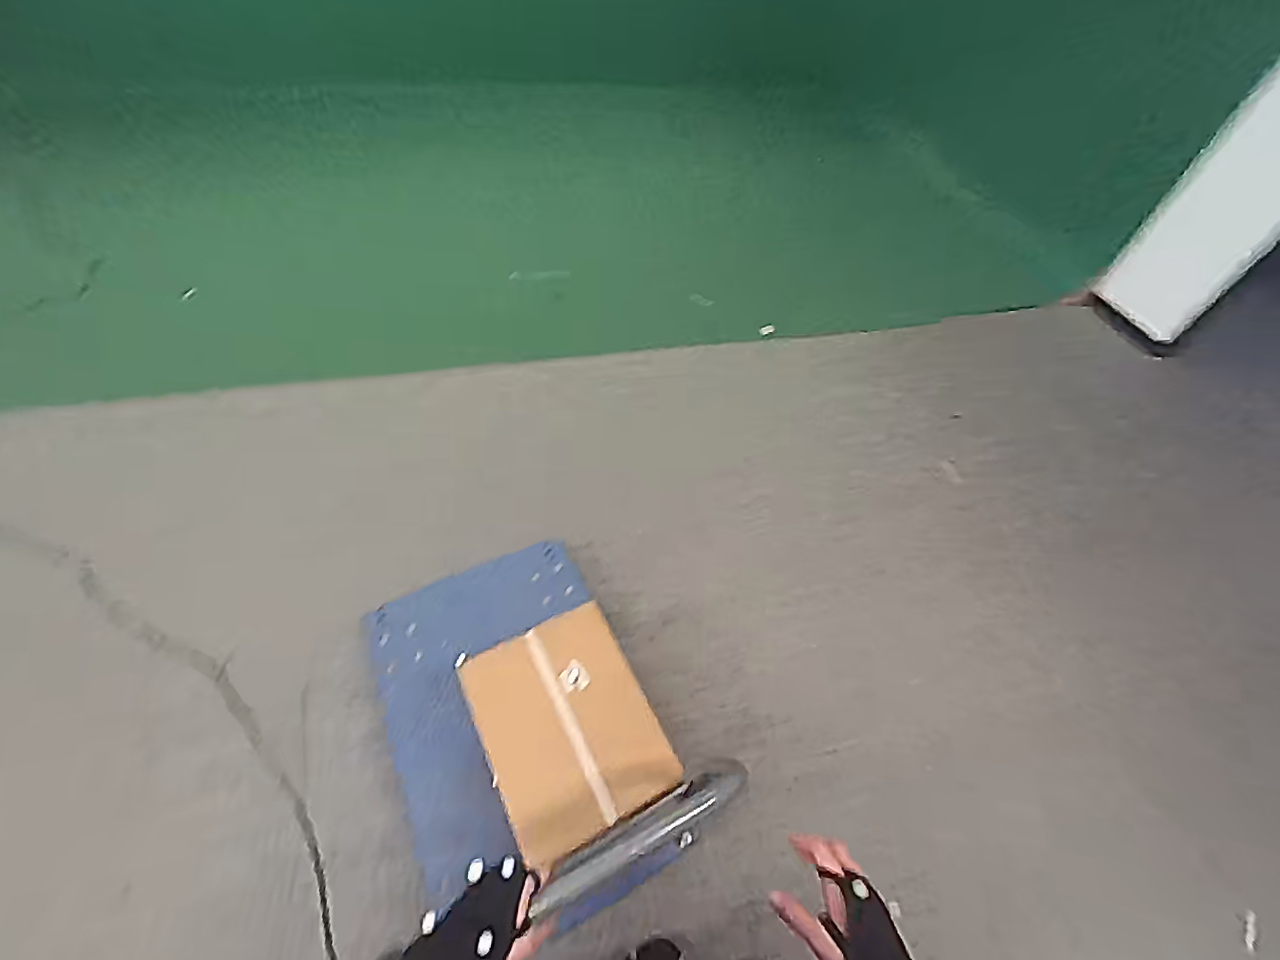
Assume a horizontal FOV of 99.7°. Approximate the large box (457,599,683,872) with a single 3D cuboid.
[{"bbox_3d":[-0.153,0.548,1.172,0.320,0.320,0.408,-21,57,-20],"label":"large box"}]
